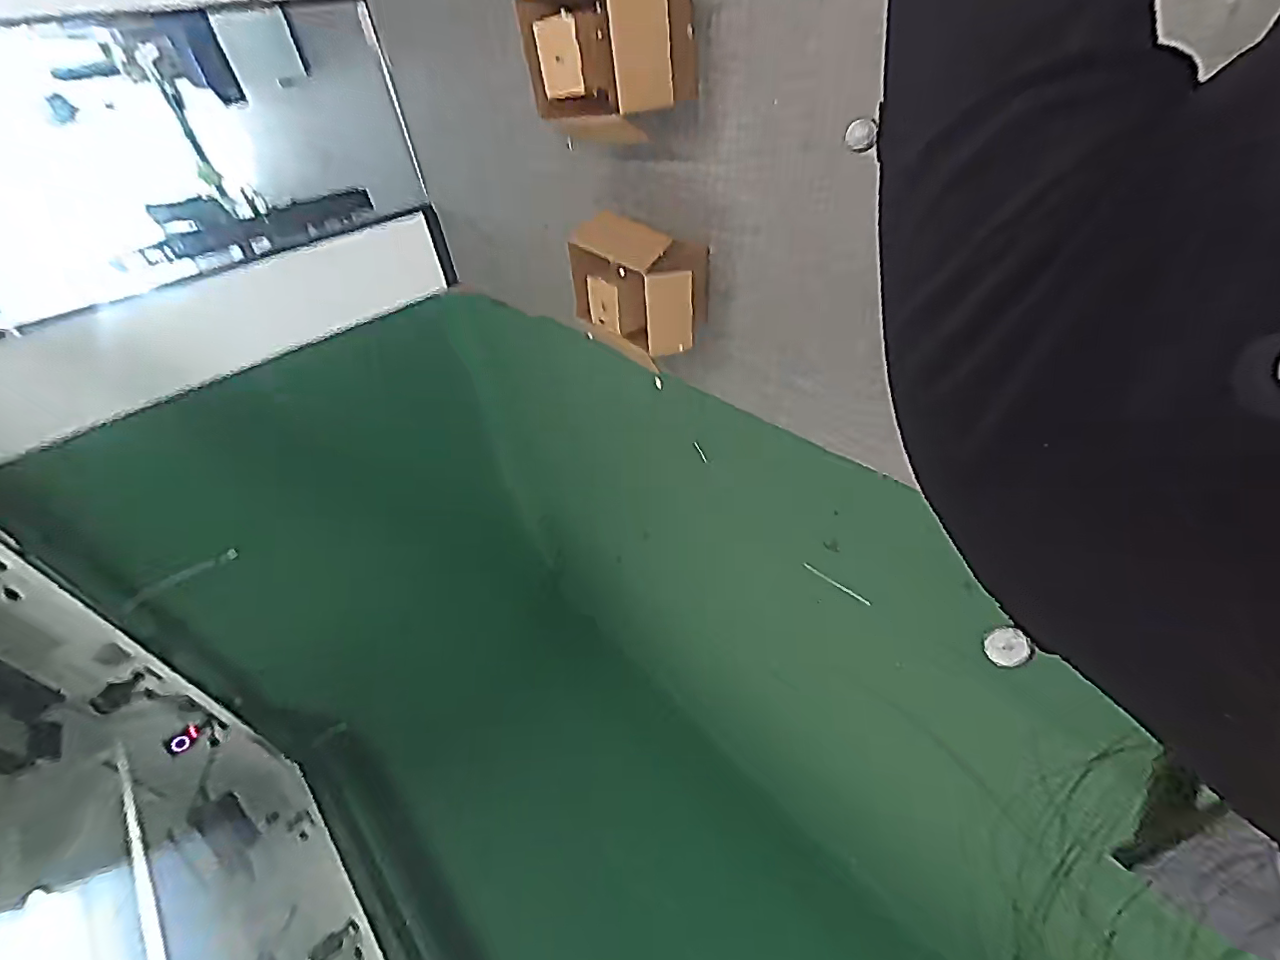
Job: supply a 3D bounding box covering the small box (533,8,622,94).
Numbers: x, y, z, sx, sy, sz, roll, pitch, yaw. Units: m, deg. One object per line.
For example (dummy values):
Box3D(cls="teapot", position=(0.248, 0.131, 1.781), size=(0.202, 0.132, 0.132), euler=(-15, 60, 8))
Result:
Box3D(cls="small box", position=(-0.165, -1.193, 1.505), size=(0.179, 0.176, 0.168), euler=(27, 140, 38))
